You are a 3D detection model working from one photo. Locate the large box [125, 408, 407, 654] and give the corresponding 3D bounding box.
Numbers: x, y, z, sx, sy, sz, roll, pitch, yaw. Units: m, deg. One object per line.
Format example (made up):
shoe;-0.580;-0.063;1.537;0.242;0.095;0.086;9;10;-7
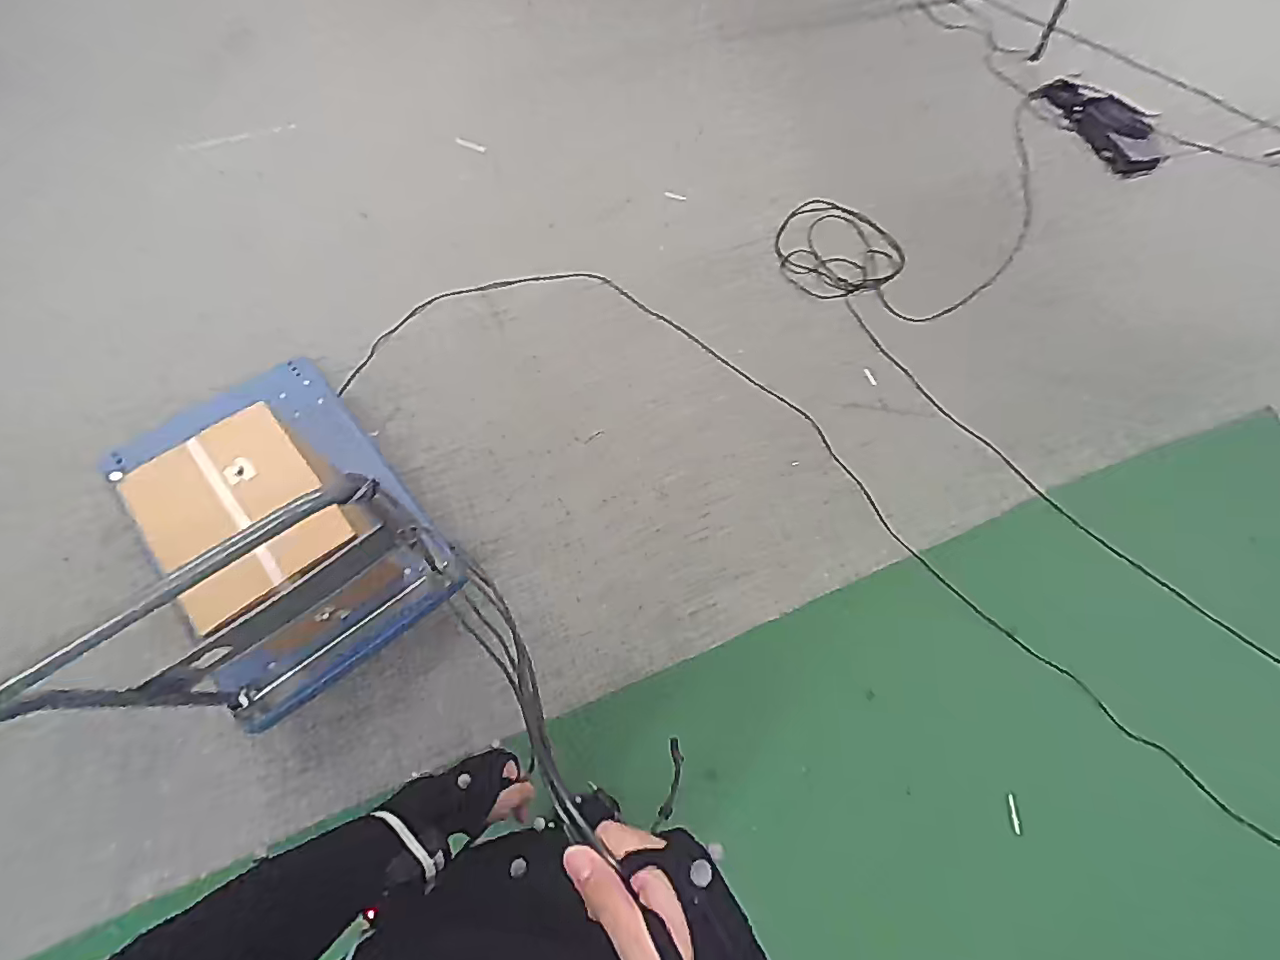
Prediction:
large box;-0.812;0.125;1.226;0.320;0.320;0.408;-37;73;-19
